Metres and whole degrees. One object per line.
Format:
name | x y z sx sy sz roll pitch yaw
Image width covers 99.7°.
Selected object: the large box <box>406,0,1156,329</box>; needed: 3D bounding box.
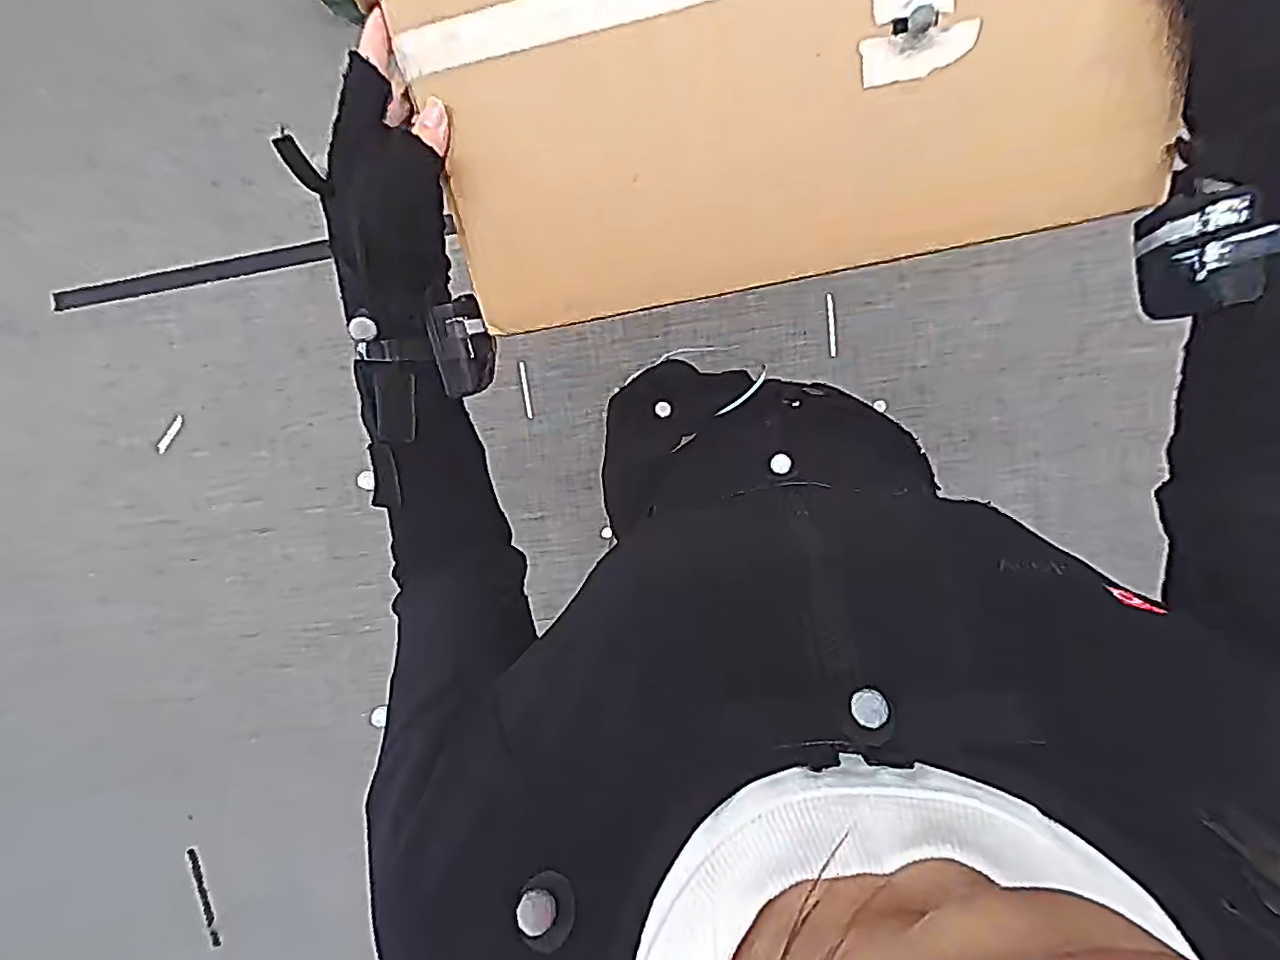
large box | 0.073 -0.331 0.428 0.408 0.320 0.320 -10 113 6
